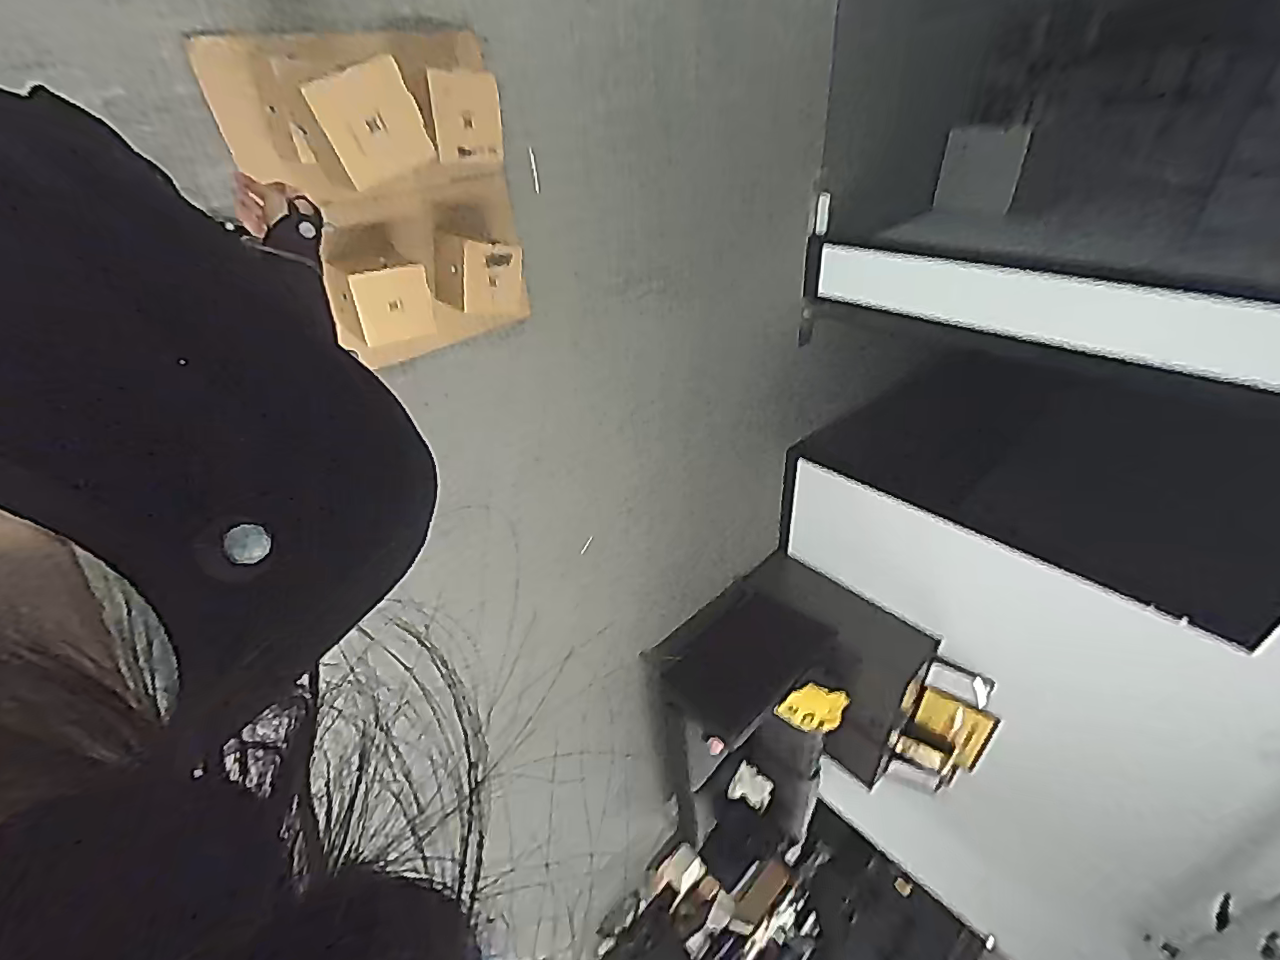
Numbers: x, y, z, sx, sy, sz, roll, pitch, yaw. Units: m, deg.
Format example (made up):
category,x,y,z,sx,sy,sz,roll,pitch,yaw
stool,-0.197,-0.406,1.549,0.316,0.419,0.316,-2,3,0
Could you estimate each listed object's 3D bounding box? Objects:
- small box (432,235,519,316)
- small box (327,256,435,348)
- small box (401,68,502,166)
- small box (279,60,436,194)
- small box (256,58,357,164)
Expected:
category,x,y,z,sx,sy,sz,roll,pitch,yaw
small box,-0.441,-0.546,1.442,0.168,0.176,0.179,-16,127,-42
small box,-0.630,-0.436,1.309,0.179,0.176,0.168,-28,133,-35
small box,-0.444,-0.834,1.257,0.168,0.176,0.179,-25,131,-36
small box,-0.527,-0.660,1.012,0.179,0.176,0.168,-40,138,-22
small box,-0.647,-0.738,1.095,0.179,0.176,0.168,-26,132,-35
